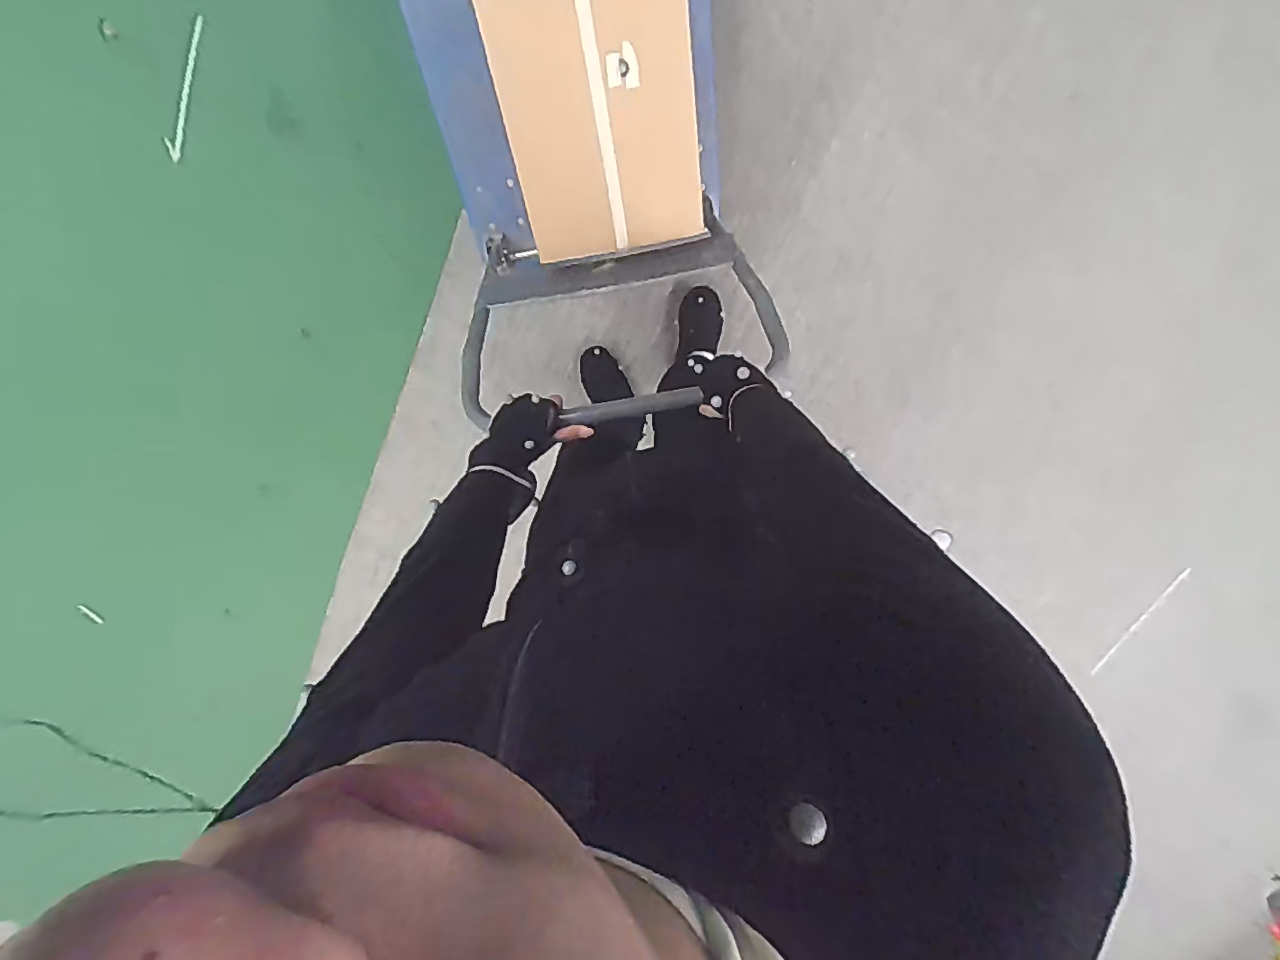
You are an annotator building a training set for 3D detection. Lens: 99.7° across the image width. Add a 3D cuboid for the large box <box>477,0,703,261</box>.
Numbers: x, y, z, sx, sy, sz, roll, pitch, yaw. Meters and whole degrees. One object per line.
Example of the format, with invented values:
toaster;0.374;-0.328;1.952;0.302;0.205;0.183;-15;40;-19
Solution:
large box;-0.072;-0.684;1.022;0.320;0.320;0.408;-9;128;1
